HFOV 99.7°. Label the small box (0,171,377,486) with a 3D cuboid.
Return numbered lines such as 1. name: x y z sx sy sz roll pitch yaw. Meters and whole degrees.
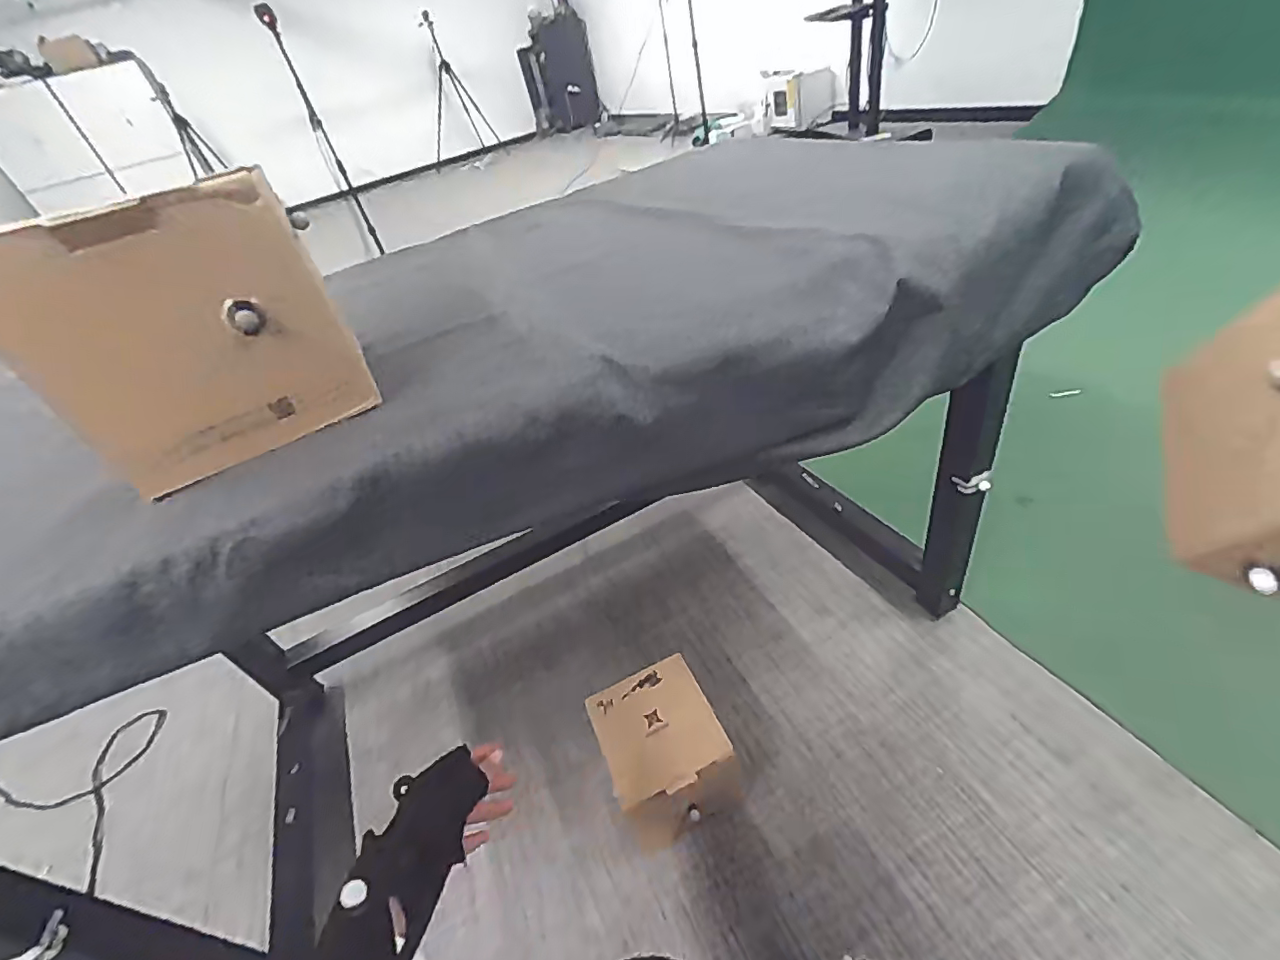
1. small box: -0.324 -0.118 0.412 0.168 0.176 0.179 -28 38 -17
